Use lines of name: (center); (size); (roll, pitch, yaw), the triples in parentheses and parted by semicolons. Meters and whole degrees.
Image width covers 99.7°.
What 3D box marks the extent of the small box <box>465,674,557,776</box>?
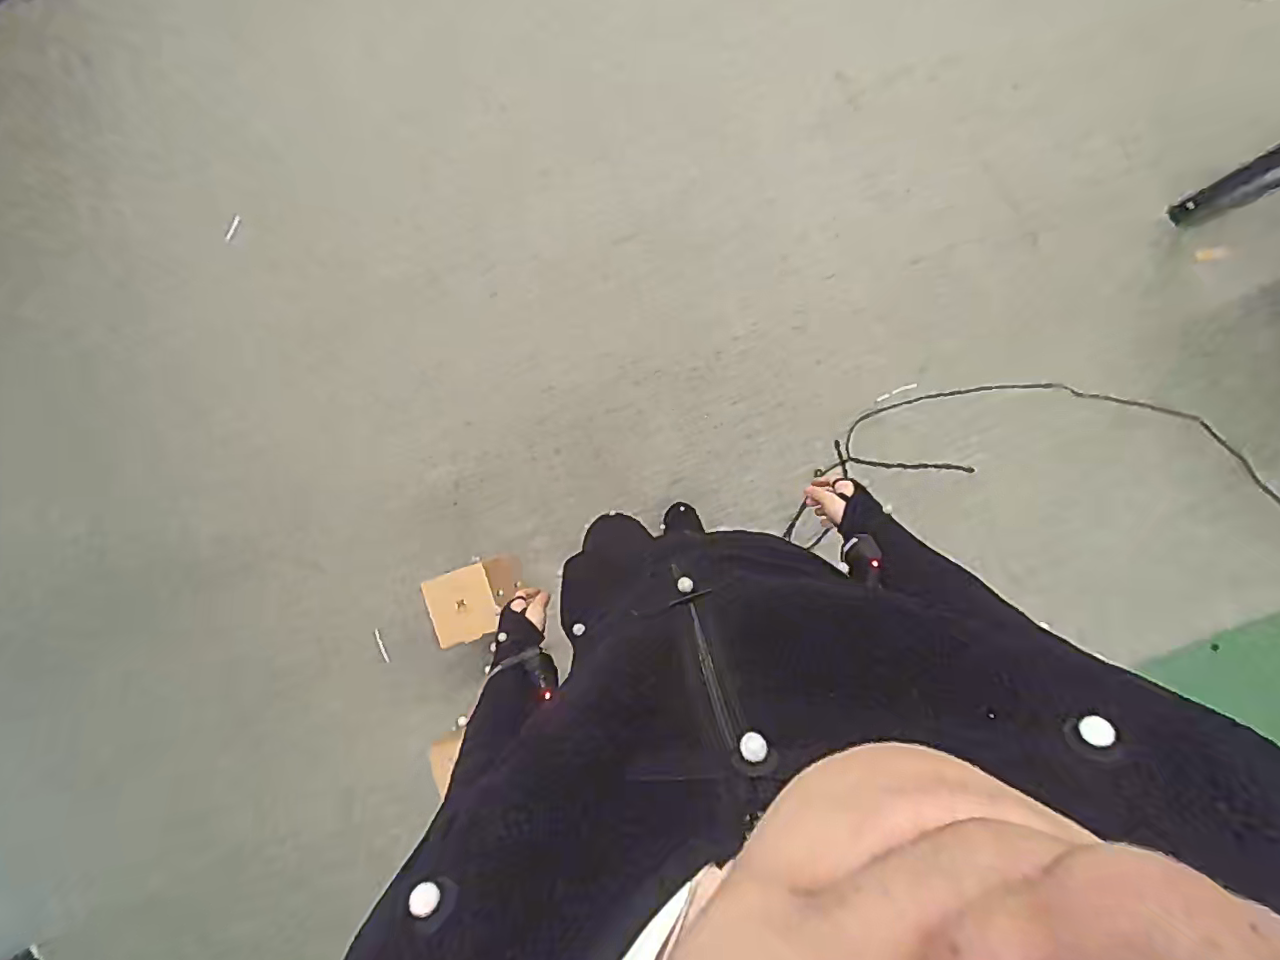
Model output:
small box: (-0.324, 0.626, 1.404); (0.179, 0.176, 0.168); (-17, 87, 4)

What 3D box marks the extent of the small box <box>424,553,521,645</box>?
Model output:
small box: (-0.429, 0.305, 1.416); (0.168, 0.176, 0.179); (-19, 87, 3)

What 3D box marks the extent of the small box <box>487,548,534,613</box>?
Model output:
small box: (-0.428, 0.312, 1.580); (0.168, 0.176, 0.179); (-21, 88, 3)

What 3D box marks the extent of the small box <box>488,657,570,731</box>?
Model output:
small box: (-0.312, 0.635, 1.567); (0.179, 0.176, 0.168); (-18, 88, 4)
